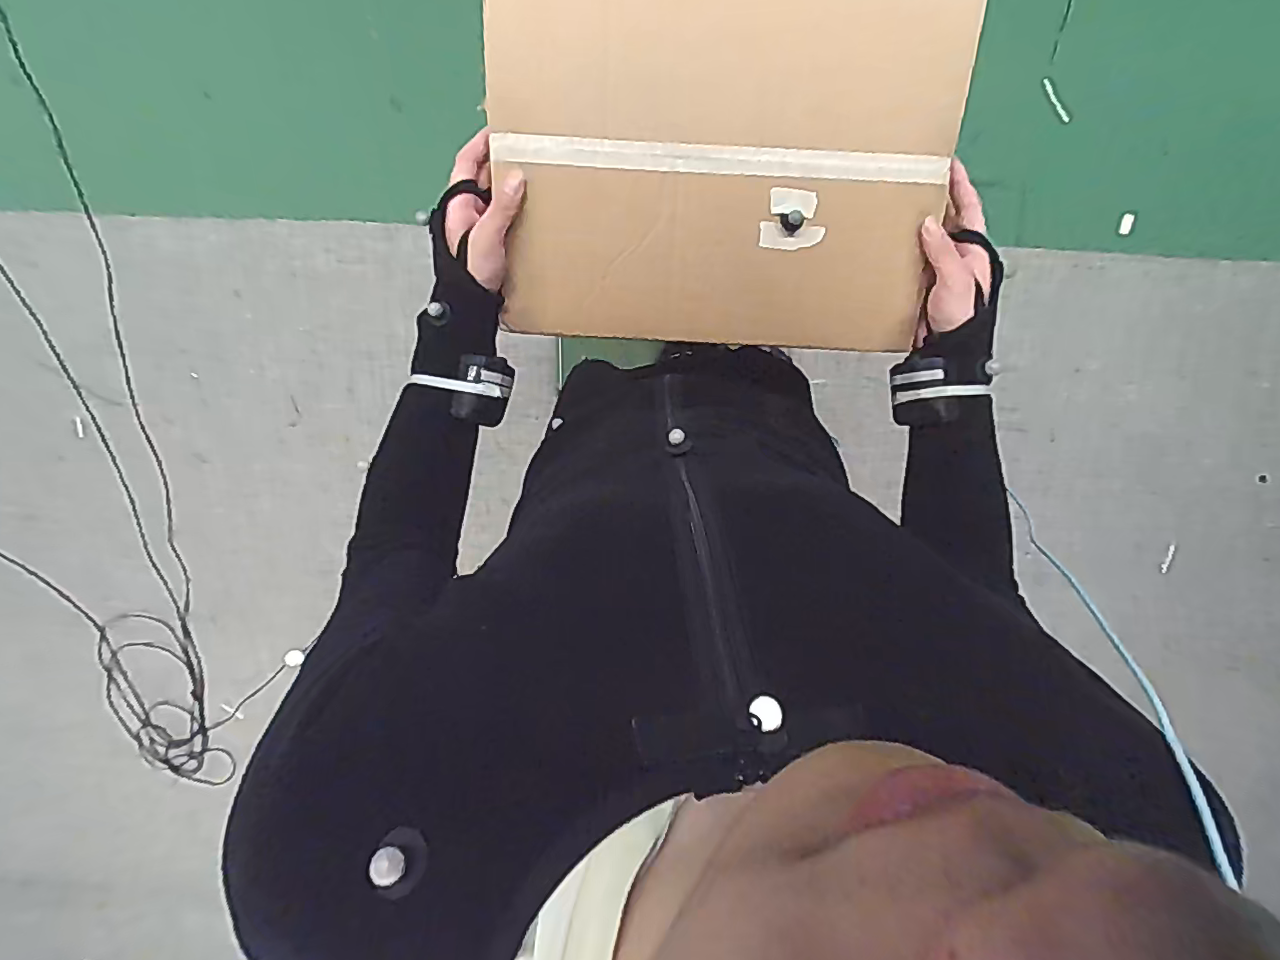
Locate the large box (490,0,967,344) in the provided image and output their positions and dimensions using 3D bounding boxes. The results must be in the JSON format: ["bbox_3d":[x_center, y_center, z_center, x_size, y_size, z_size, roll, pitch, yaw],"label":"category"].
[{"bbox_3d":[0.067,-0.335,0.627,0.408,0.320,0.320,2,111,-2],"label":"large box"}]
